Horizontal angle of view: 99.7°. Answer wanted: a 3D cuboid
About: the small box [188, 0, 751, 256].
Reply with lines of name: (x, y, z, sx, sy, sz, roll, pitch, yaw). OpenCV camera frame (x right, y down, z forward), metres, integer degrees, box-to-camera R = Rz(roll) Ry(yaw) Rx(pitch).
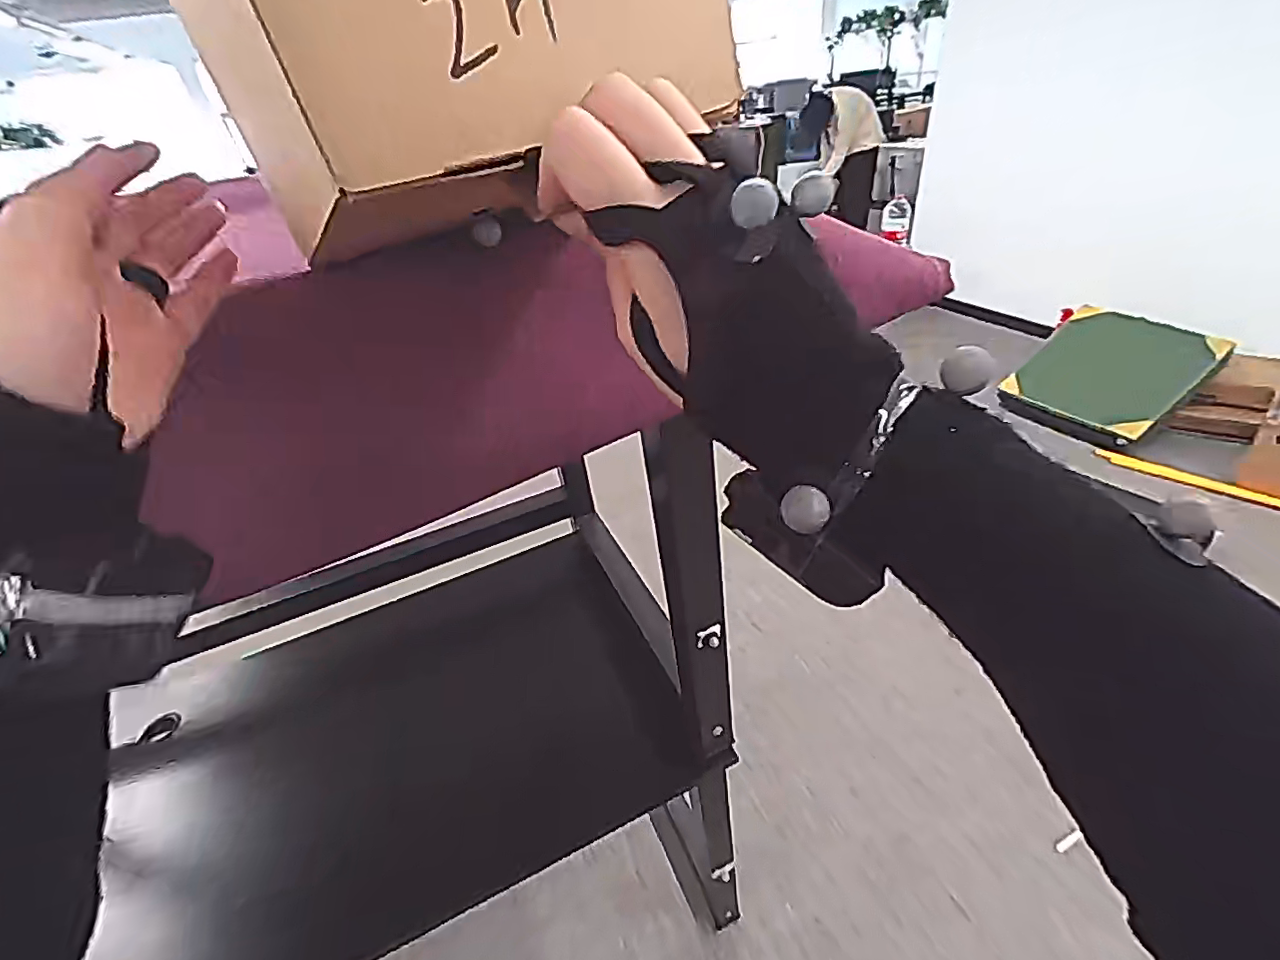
small box: (-0.086, -0.211, 0.220, 0.168, 0.179, 0.176, -30, 26, -26)
